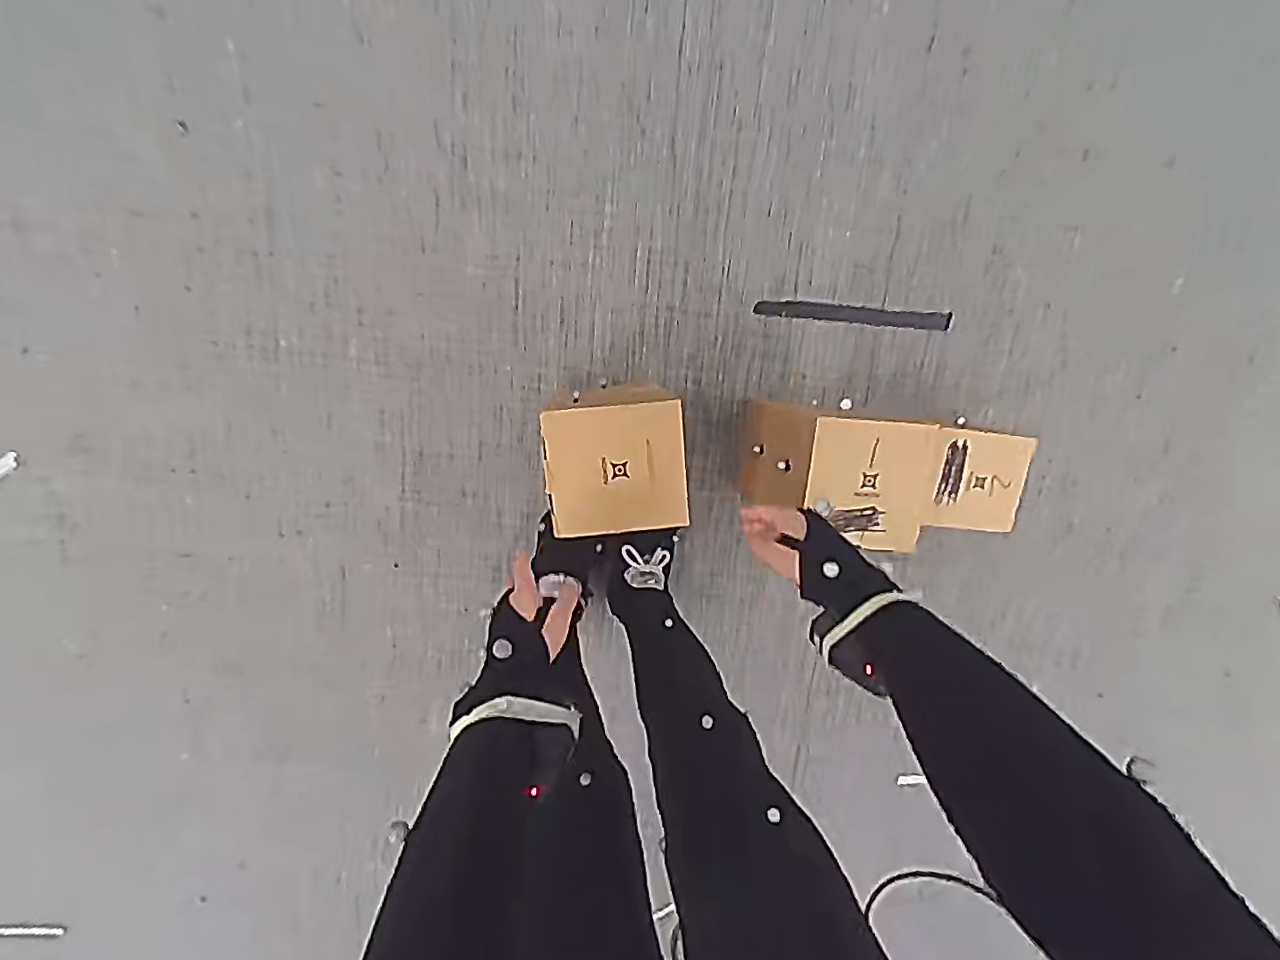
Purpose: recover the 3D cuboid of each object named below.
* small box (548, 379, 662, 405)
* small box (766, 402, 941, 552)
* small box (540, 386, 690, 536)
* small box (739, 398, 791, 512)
[{"bbox_3d":[-0.047,-0.075,0.906,0.179,0.176,0.168,-7,105,-1],"label":"small box"},{"bbox_3d":[0.288,-0.011,0.773,0.168,0.176,0.179,4,103,-5],"label":"small box"},{"bbox_3d":[-0.034,-0.035,0.748,0.179,0.176,0.168,-7,106,-3],"label":"small box"},{"bbox_3d":[0.279,-0.042,0.935,0.168,0.176,0.179,7,104,-5],"label":"small box"}]
